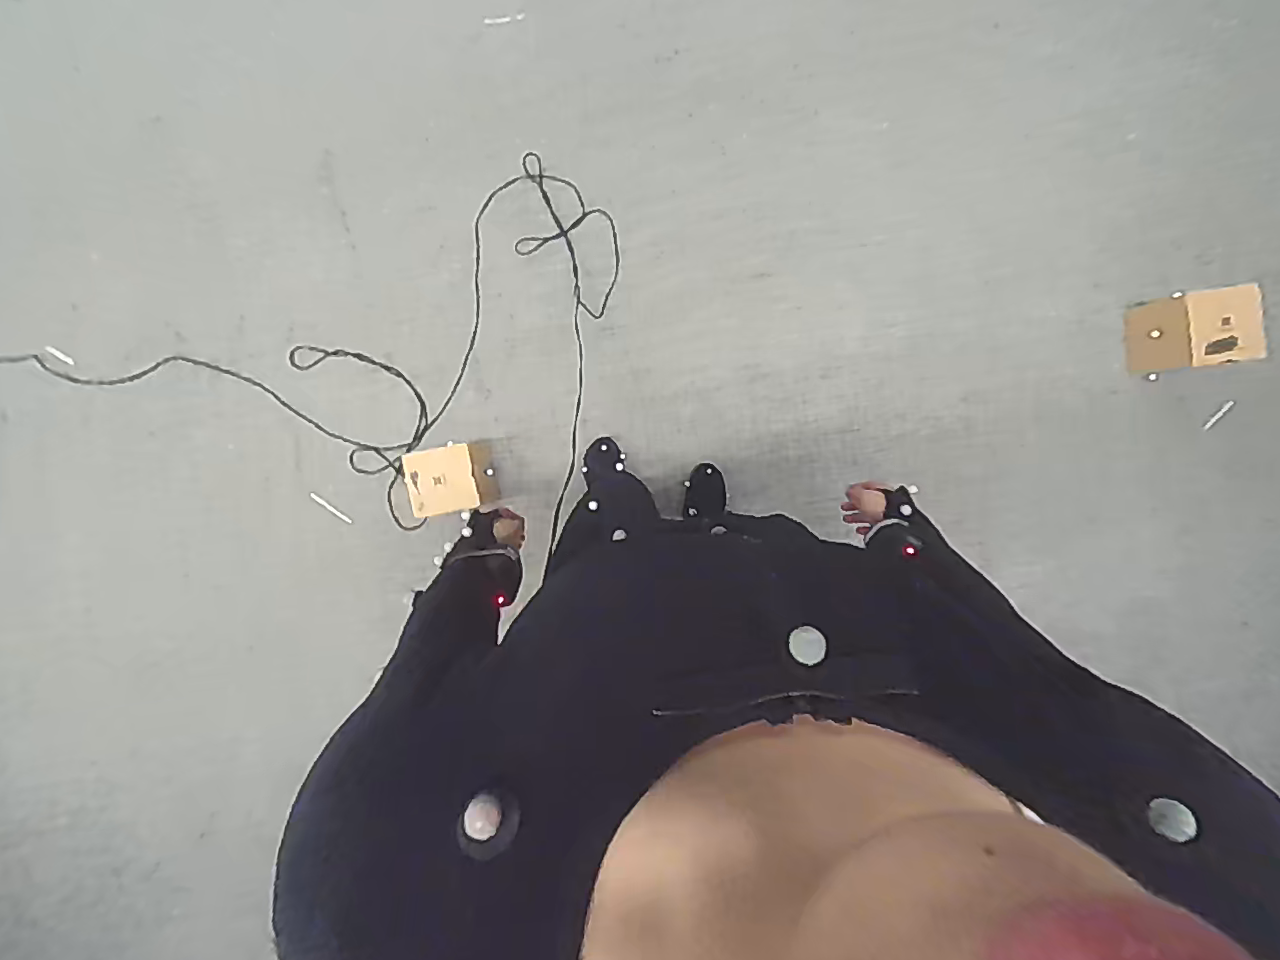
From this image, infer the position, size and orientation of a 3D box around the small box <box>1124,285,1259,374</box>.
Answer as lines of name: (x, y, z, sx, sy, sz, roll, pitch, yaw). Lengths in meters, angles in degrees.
small box: (1.353, -0.362, 1.337, 0.168, 0.176, 0.179, -7, 93, 3)

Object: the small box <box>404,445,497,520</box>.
small box: (-0.487, 0.000, 1.421, 0.179, 0.176, 0.168, -11, 93, 2)
